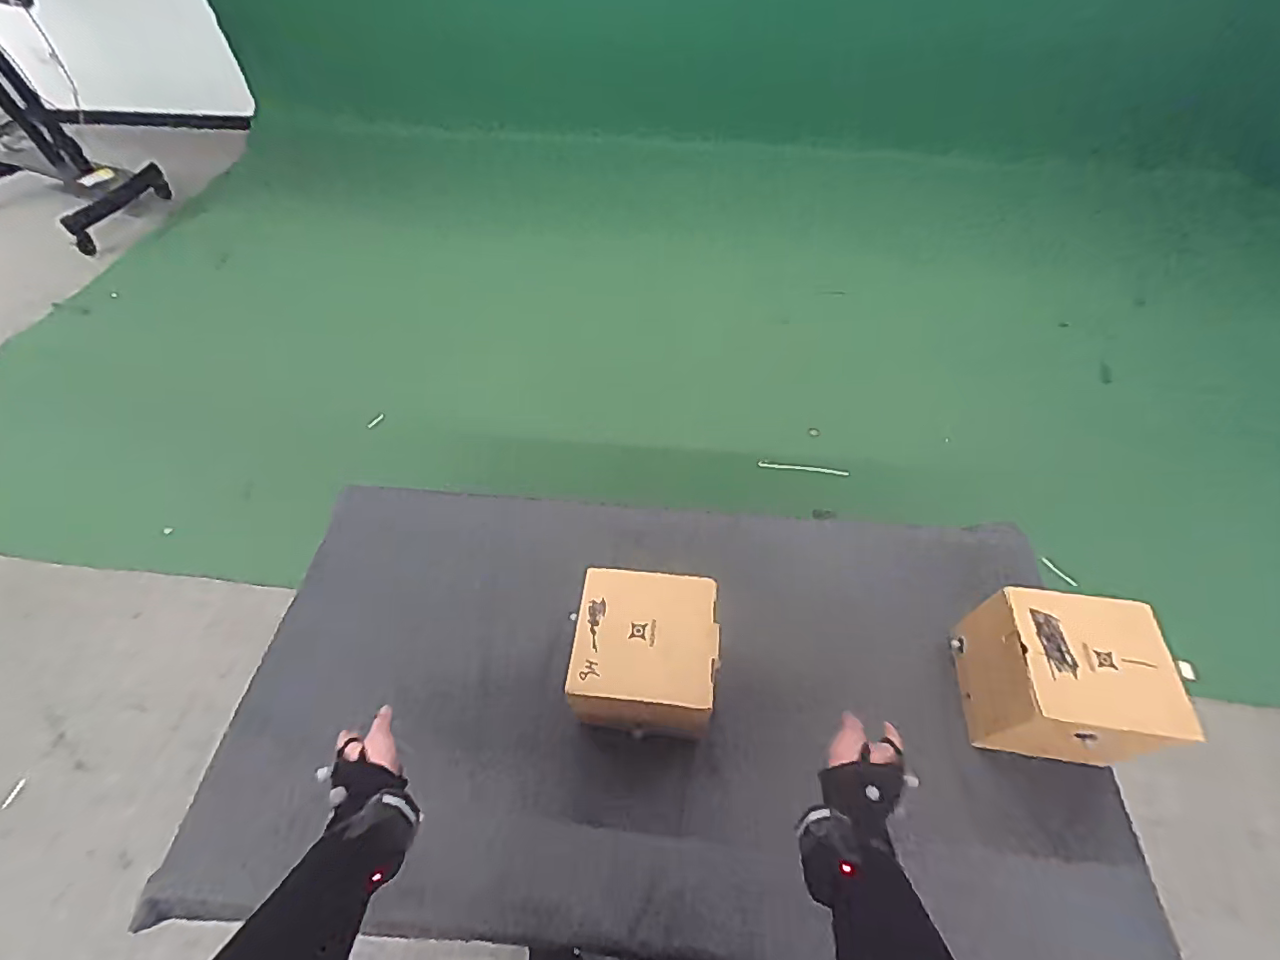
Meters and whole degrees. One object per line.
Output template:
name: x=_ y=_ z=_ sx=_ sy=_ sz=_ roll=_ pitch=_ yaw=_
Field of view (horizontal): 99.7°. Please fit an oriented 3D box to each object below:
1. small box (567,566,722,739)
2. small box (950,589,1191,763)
small box: x=0.006 y=0.236 z=0.723 sx=0.179 sy=0.176 sz=0.168 roll=7 pitch=53 yaw=1
small box: x=0.545 y=0.267 z=0.724 sx=0.179 sy=0.176 sz=0.168 roll=8 pitch=54 yaw=2
